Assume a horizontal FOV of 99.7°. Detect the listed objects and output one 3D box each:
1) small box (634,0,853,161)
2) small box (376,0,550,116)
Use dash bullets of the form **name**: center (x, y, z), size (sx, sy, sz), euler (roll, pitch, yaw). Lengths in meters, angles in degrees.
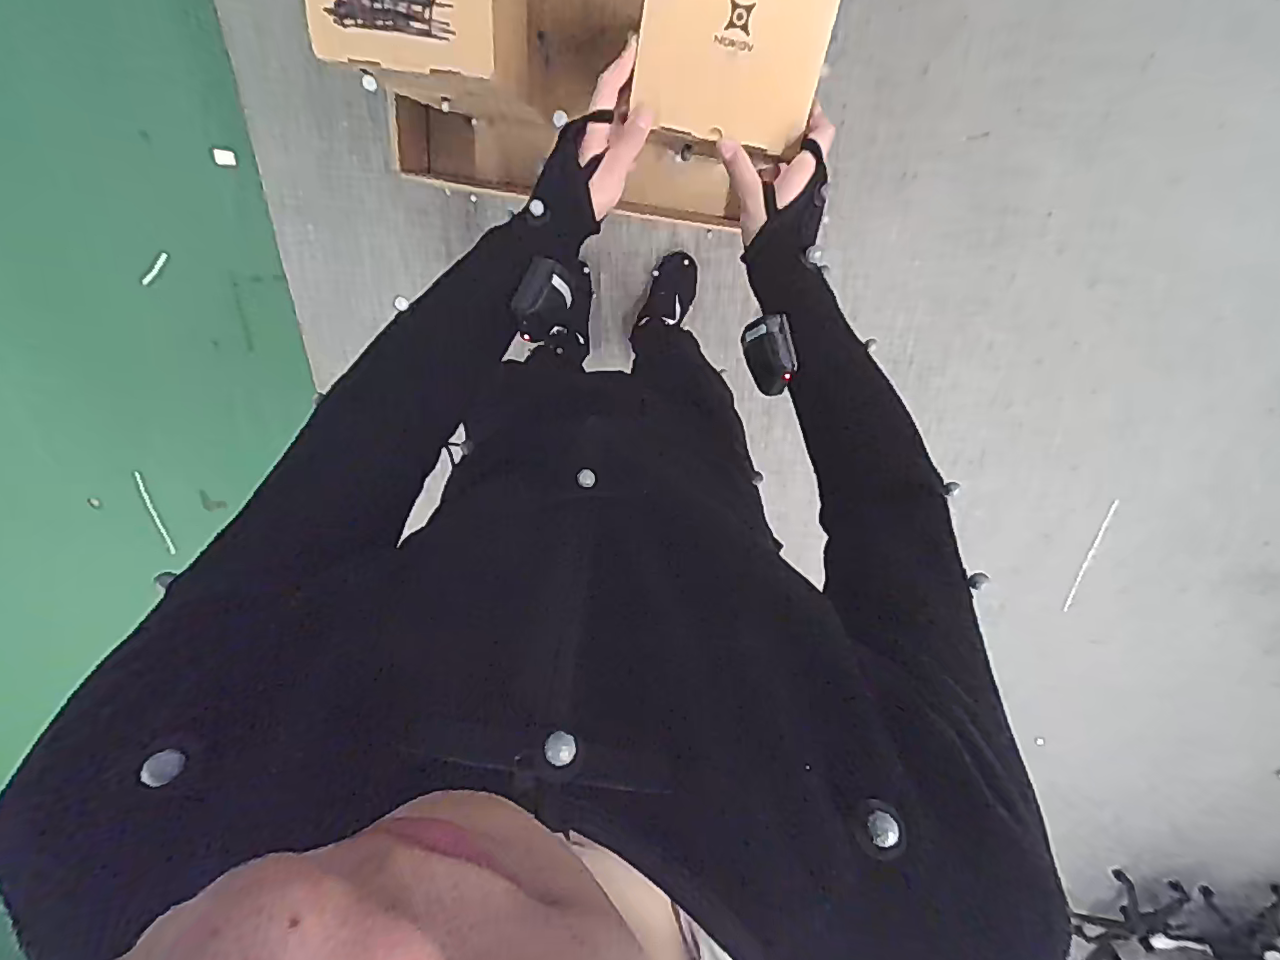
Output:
- **small box**: center (0.088, -0.426, 0.524), size (0.168, 0.176, 0.179), euler (8, 119, -7)
- **small box**: center (-0.206, -0.567, 0.660), size (0.168, 0.176, 0.179), euler (5, 118, -2)
